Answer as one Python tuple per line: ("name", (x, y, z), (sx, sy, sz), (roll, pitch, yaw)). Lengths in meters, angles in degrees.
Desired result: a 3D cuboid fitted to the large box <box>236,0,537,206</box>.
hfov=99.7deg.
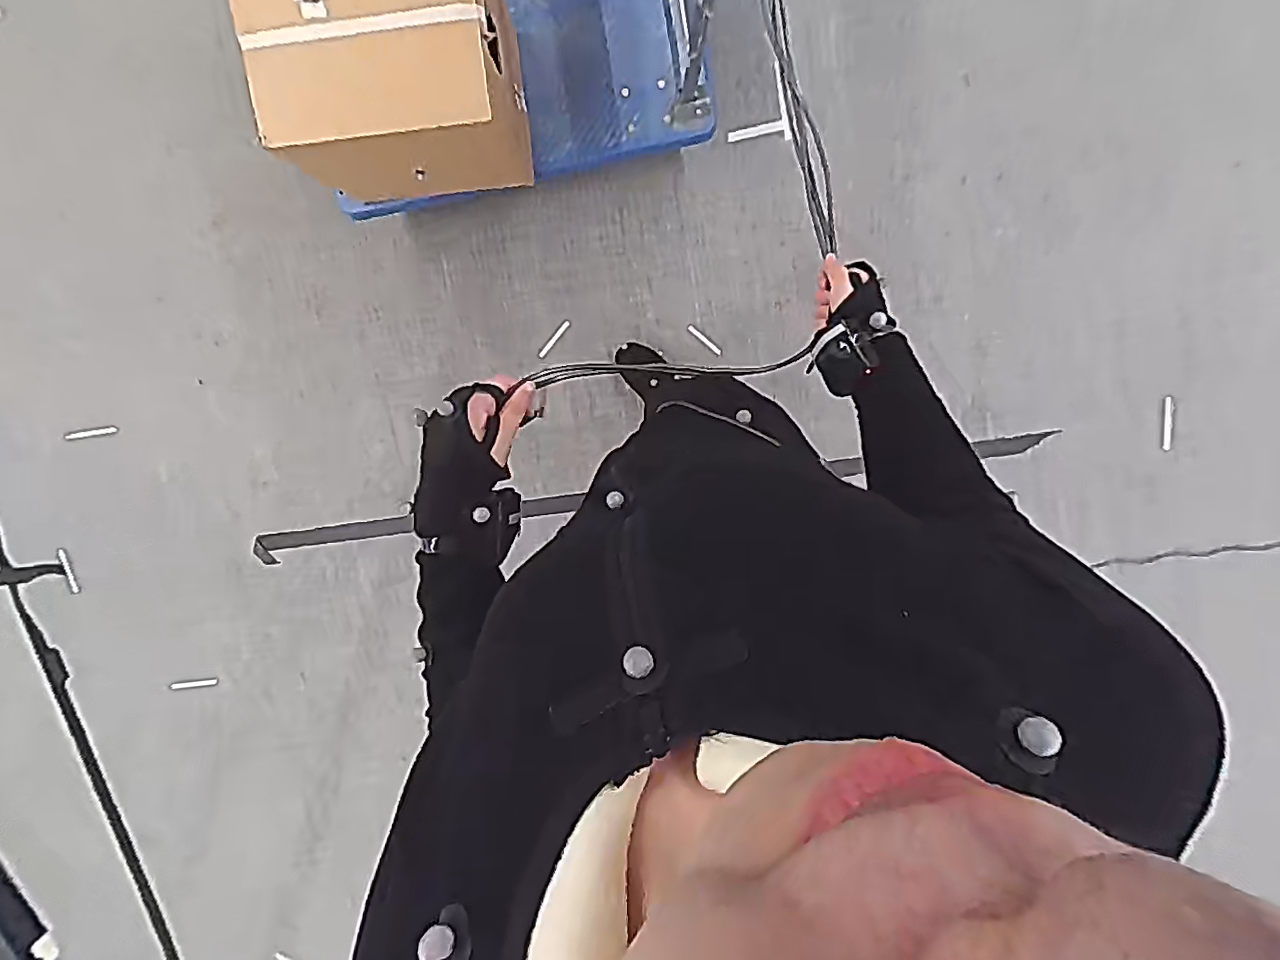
("large box", (-0.443, -0.749, 1.026), (0.408, 0.320, 0.320), (-5, 100, 4))
